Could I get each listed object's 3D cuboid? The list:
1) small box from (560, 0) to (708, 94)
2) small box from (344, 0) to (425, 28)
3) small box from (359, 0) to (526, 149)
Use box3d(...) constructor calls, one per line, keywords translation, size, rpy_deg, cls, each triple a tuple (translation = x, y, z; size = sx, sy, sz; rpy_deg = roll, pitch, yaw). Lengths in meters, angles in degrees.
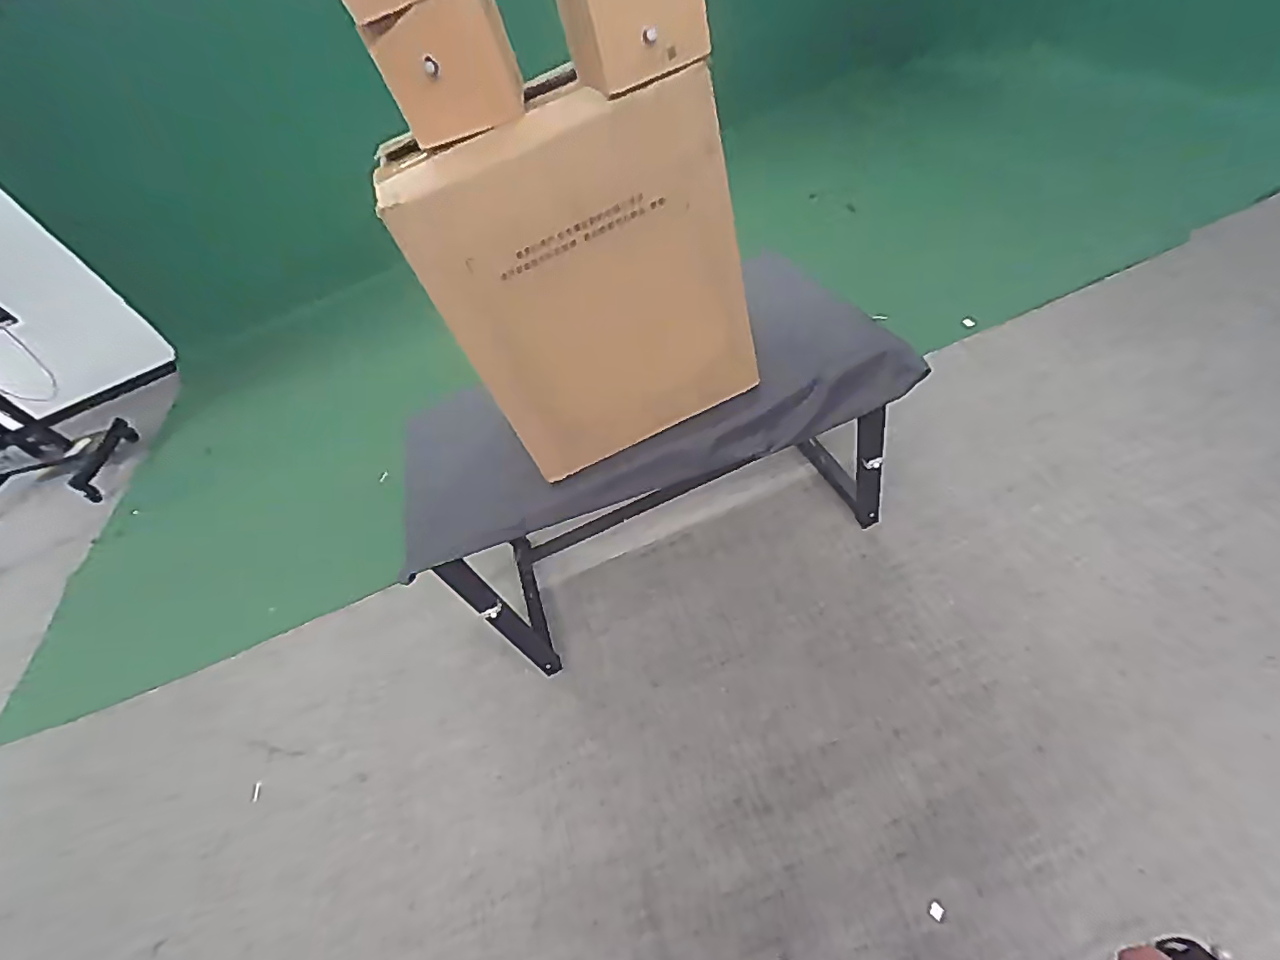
box3d(translation=(-0.018, -0.691, 0.784), size=(0.168, 0.176, 0.179), rpy_deg=(-25, 47, -3), cls="small box")
box3d(translation=(-0.344, -0.730, 0.703), size=(0.179, 0.176, 0.168), rpy_deg=(-29, 55, -5), cls="small box")
box3d(translation=(-0.291, -0.648, 0.833), size=(0.179, 0.176, 0.168), rpy_deg=(-15, 55, 7), cls="small box")
